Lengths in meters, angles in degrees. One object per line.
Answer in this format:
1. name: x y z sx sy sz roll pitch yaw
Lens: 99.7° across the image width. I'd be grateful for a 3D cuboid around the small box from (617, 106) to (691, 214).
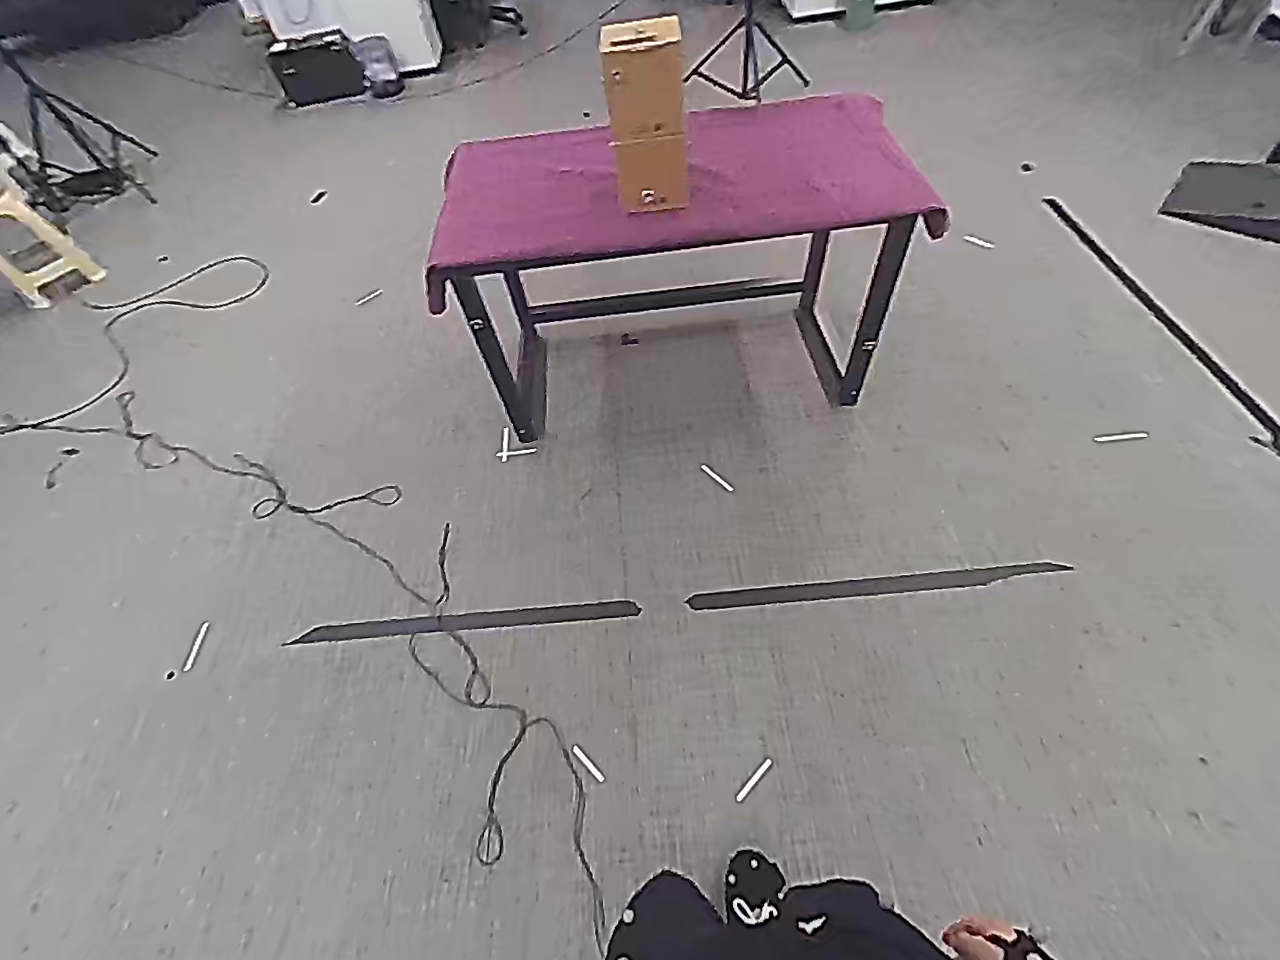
1. small box: 0.036 -0.780 1.324 0.168 0.176 0.179 -5 55 4
